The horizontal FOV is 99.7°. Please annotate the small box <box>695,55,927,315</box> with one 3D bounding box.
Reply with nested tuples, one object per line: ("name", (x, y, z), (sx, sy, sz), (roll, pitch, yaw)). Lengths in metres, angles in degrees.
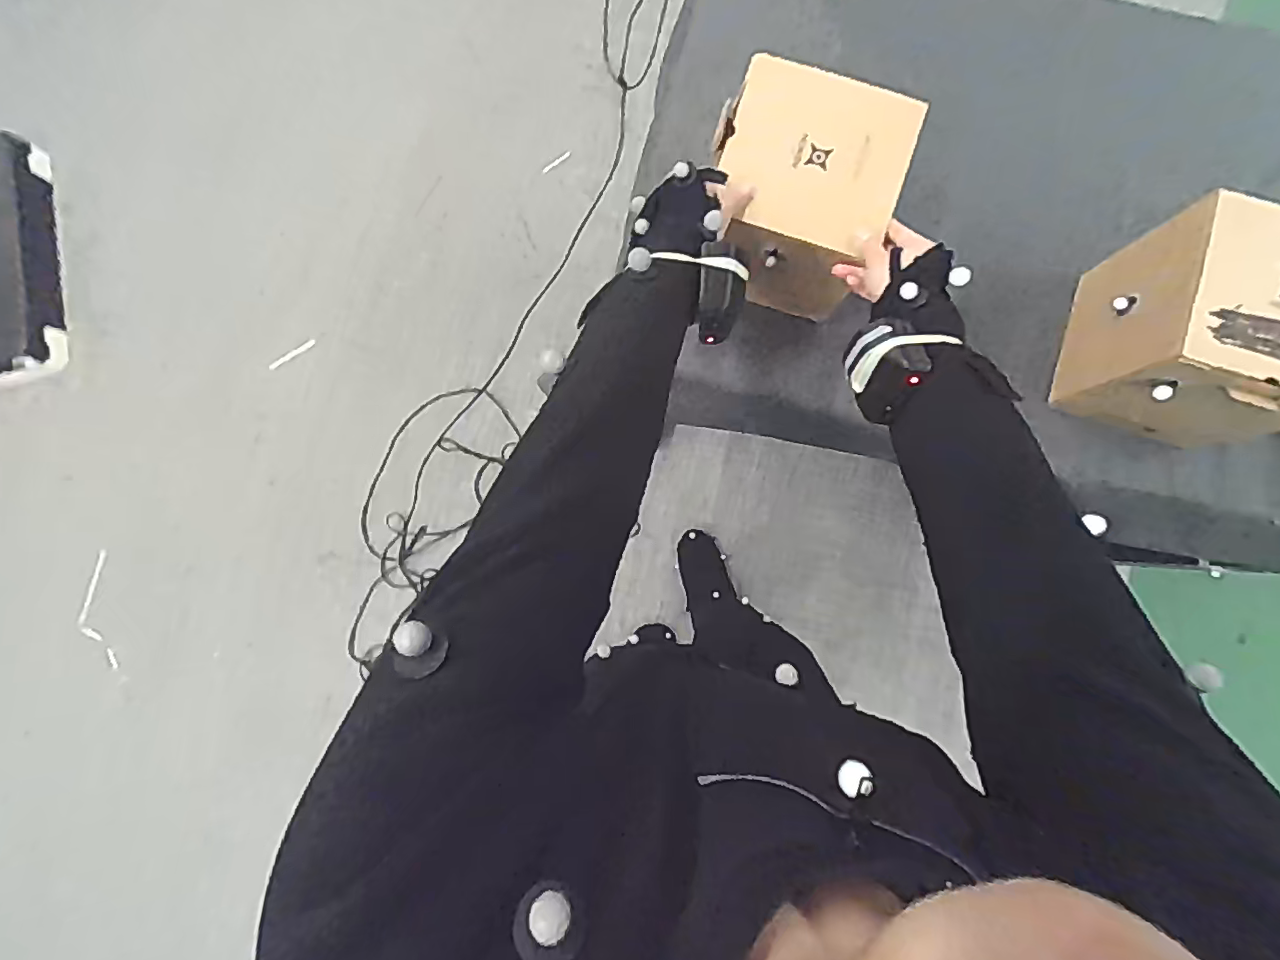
("small box", (0.167, -0.301, 0.591), (0.179, 0.176, 0.168), (18, 88, 1))
